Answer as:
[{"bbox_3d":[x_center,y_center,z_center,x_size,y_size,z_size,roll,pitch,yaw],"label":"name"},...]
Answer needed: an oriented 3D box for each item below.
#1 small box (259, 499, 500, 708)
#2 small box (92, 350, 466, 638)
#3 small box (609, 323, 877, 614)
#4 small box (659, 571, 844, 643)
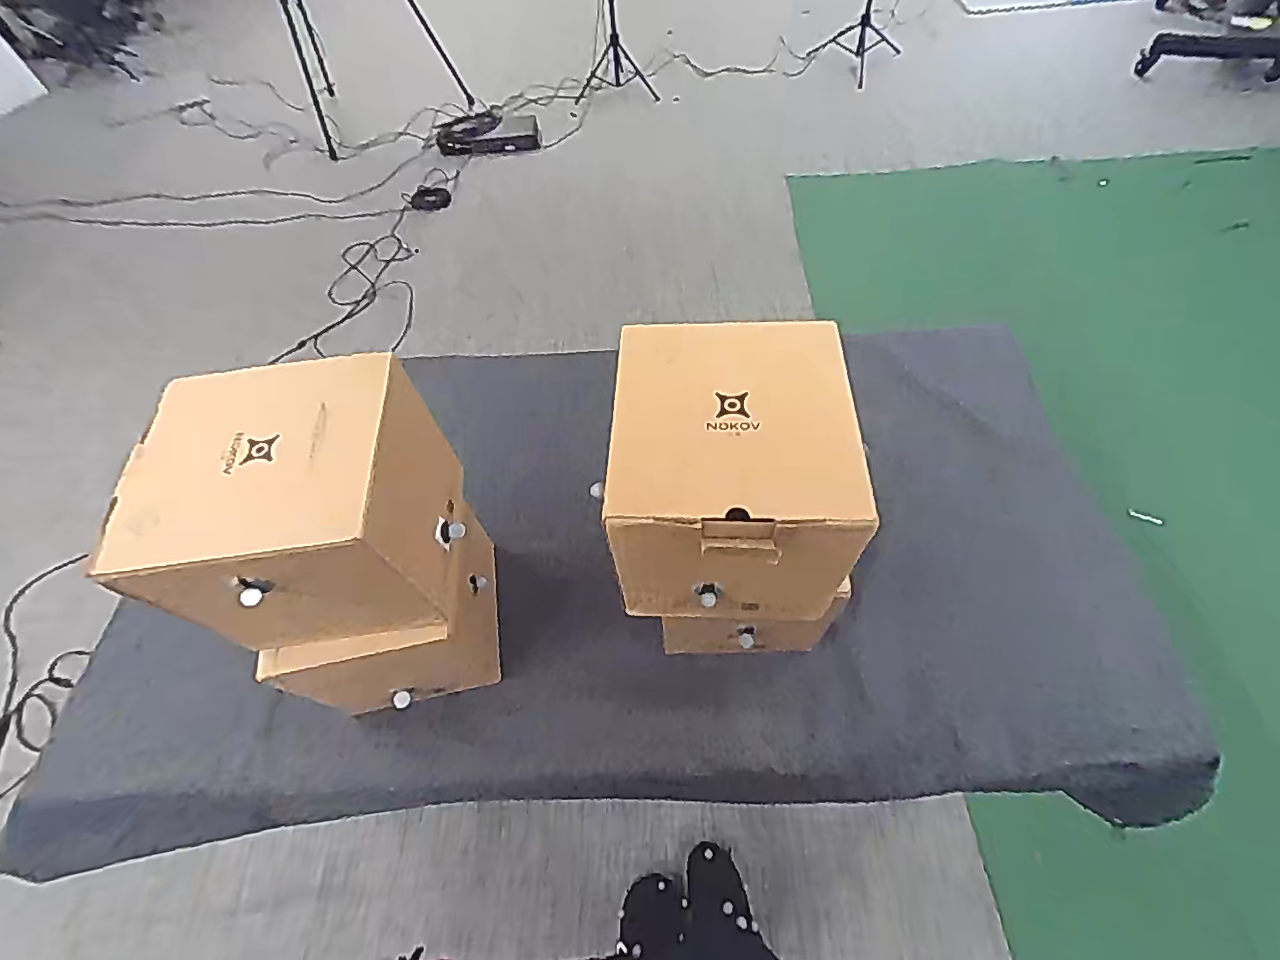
[{"bbox_3d":[-0.254,0.121,0.573,0.168,0.176,0.179,-11,58,-4],"label":"small box"},{"bbox_3d":[-0.260,0.020,0.445,0.179,0.176,0.168,-8,58,-2],"label":"small box"},{"bbox_3d":[0.069,-0.005,0.441,0.168,0.176,0.179,0,58,4],"label":"small box"},{"bbox_3d":[0.102,0.072,0.583,0.168,0.176,0.179,-3,58,2],"label":"small box"}]
